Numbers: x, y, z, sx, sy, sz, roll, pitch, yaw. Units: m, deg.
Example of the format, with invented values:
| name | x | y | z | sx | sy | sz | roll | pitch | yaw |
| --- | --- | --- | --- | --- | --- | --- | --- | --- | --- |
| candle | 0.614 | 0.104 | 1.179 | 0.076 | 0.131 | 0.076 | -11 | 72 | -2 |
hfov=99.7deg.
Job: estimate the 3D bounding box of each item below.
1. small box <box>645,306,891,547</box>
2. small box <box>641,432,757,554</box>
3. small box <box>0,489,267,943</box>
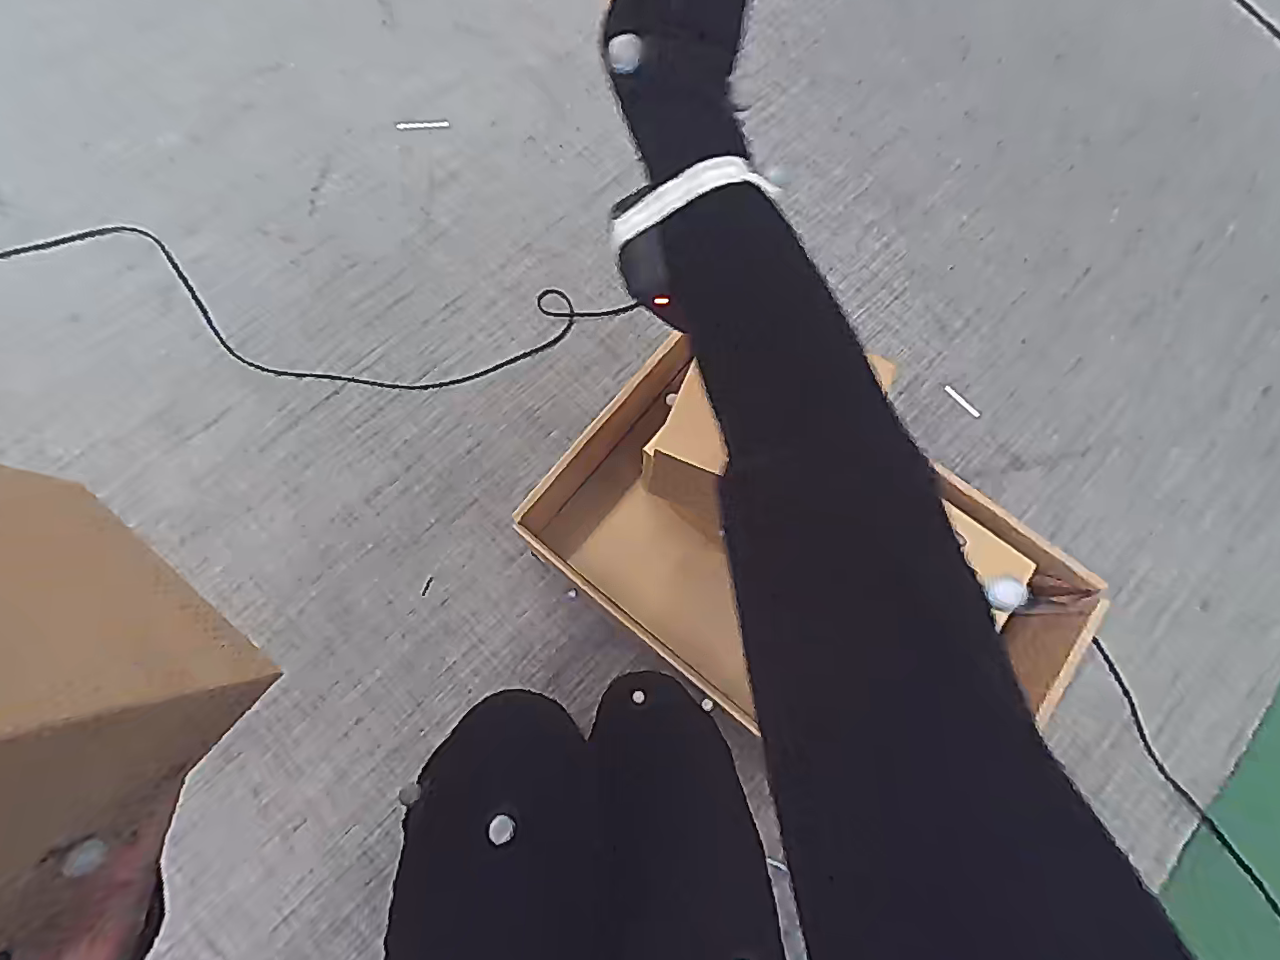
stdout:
| name | x | y | z | sx | sy | sz | roll | pitch | yaw |
| --- | --- | --- | --- | --- | --- | --- | --- | --- | --- |
| small box | 0.116 | -0.040 | 0.556 | 0.179 | 0.176 | 0.168 | 23 | 77 | 4 |
| small box | 0.114 | -0.017 | 0.718 | 0.179 | 0.176 | 0.168 | 39 | 78 | 6 |
| small box | -0.321 | 0.106 | 0.228 | 0.179 | 0.176 | 0.168 | 40 | 79 | 5 |
